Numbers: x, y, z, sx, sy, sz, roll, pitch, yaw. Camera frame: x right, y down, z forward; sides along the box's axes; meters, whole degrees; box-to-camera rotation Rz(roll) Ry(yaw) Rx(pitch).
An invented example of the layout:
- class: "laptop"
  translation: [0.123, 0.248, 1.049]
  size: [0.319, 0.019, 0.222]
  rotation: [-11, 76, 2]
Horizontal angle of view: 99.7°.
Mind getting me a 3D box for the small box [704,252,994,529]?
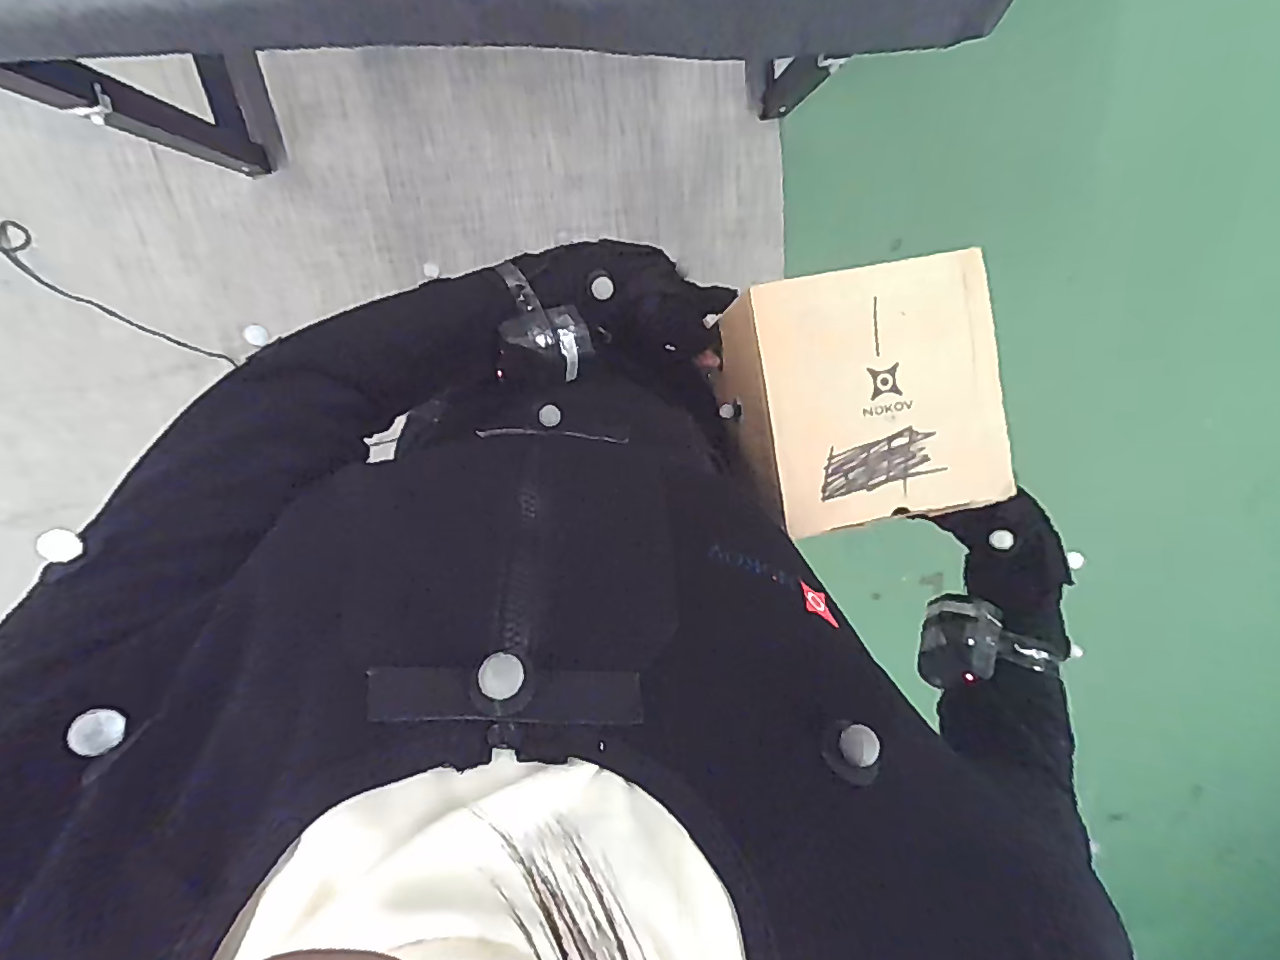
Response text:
- class: "small box"
  translation: [0.158, -0.068, 0.459]
  size: [0.168, 0.176, 0.179]
  rotation: [-10, 94, -4]
